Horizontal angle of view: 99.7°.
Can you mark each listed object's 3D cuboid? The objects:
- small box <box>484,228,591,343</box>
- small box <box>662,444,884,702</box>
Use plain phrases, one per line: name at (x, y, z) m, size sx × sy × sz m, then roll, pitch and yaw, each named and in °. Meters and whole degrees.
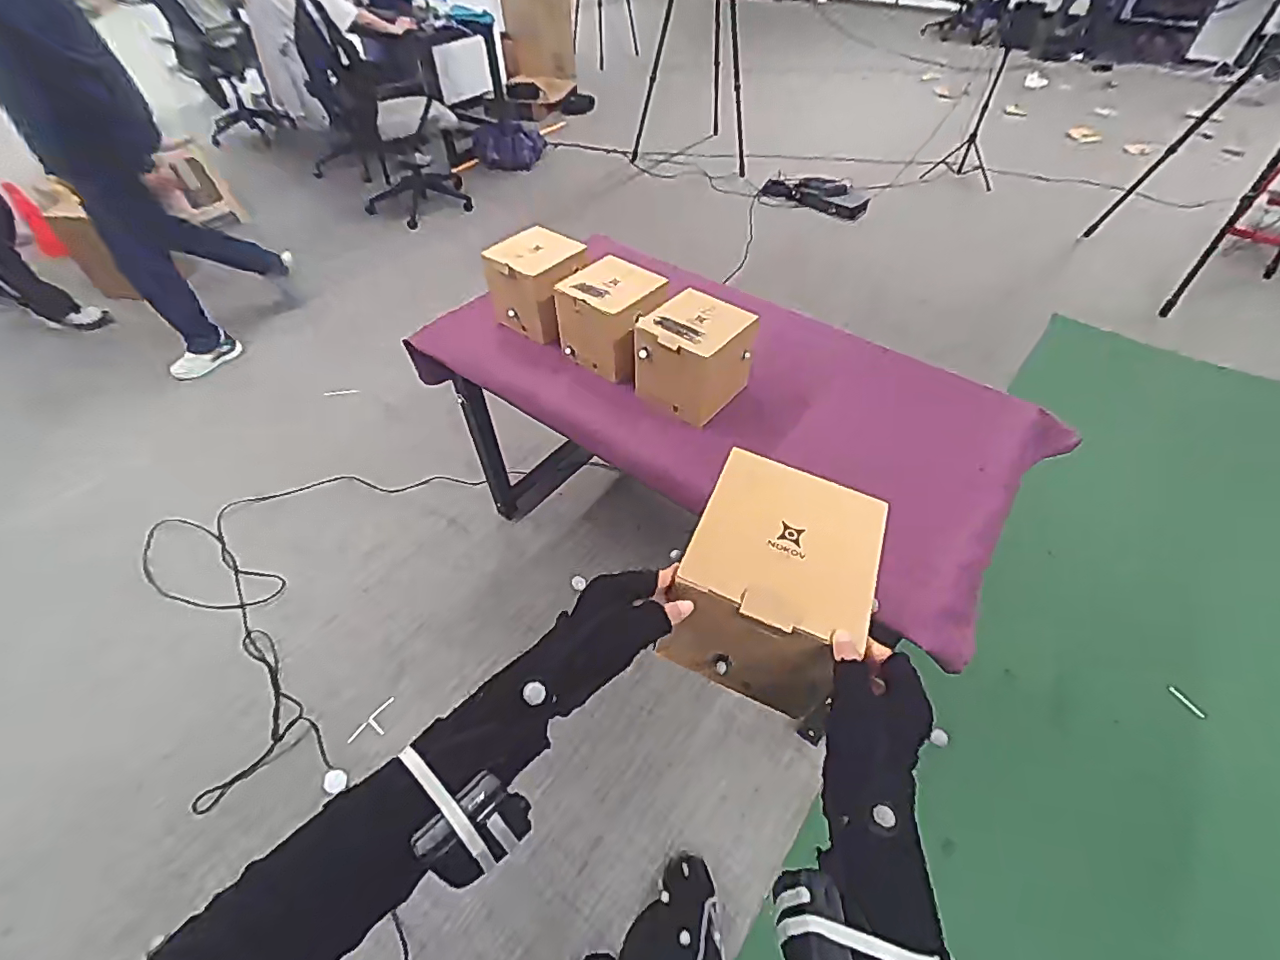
small box at (-0.228, -0.450, 1.252) m, size 0.168 × 0.176 × 0.179 m, roll 31°, pitch 56°, yaw 25°
small box at (0.131, 0.099, 0.571) m, size 0.168 × 0.176 × 0.179 m, roll 22°, pitch 52°, yaw 11°
